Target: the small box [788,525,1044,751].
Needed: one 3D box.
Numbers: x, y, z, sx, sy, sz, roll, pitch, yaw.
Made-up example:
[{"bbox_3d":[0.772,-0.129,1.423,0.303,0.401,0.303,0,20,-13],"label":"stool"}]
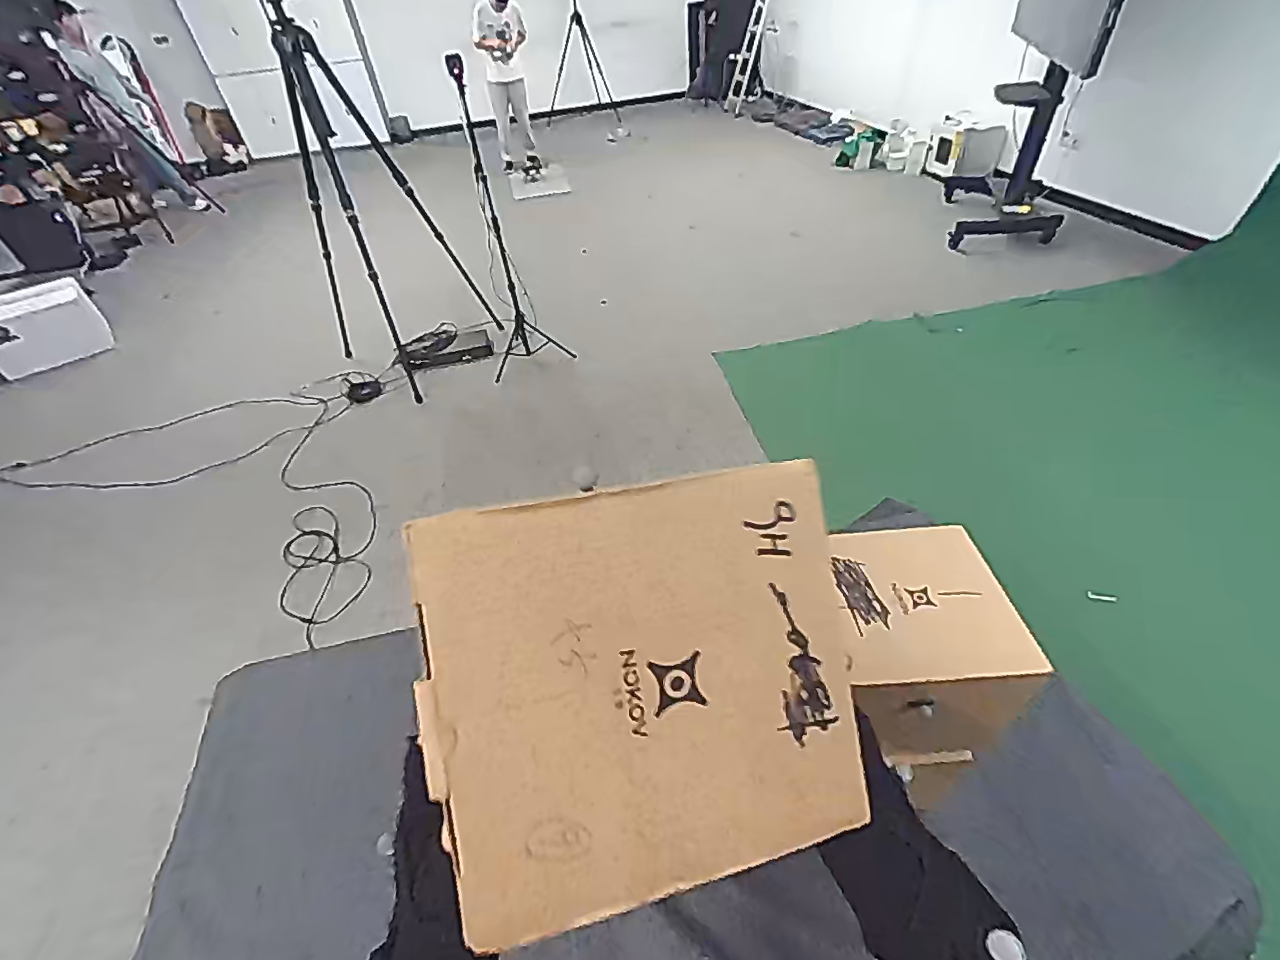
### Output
[{"bbox_3d":[0.260,0.169,0.569,0.179,0.176,0.168,-5,44,2],"label":"small box"}]
